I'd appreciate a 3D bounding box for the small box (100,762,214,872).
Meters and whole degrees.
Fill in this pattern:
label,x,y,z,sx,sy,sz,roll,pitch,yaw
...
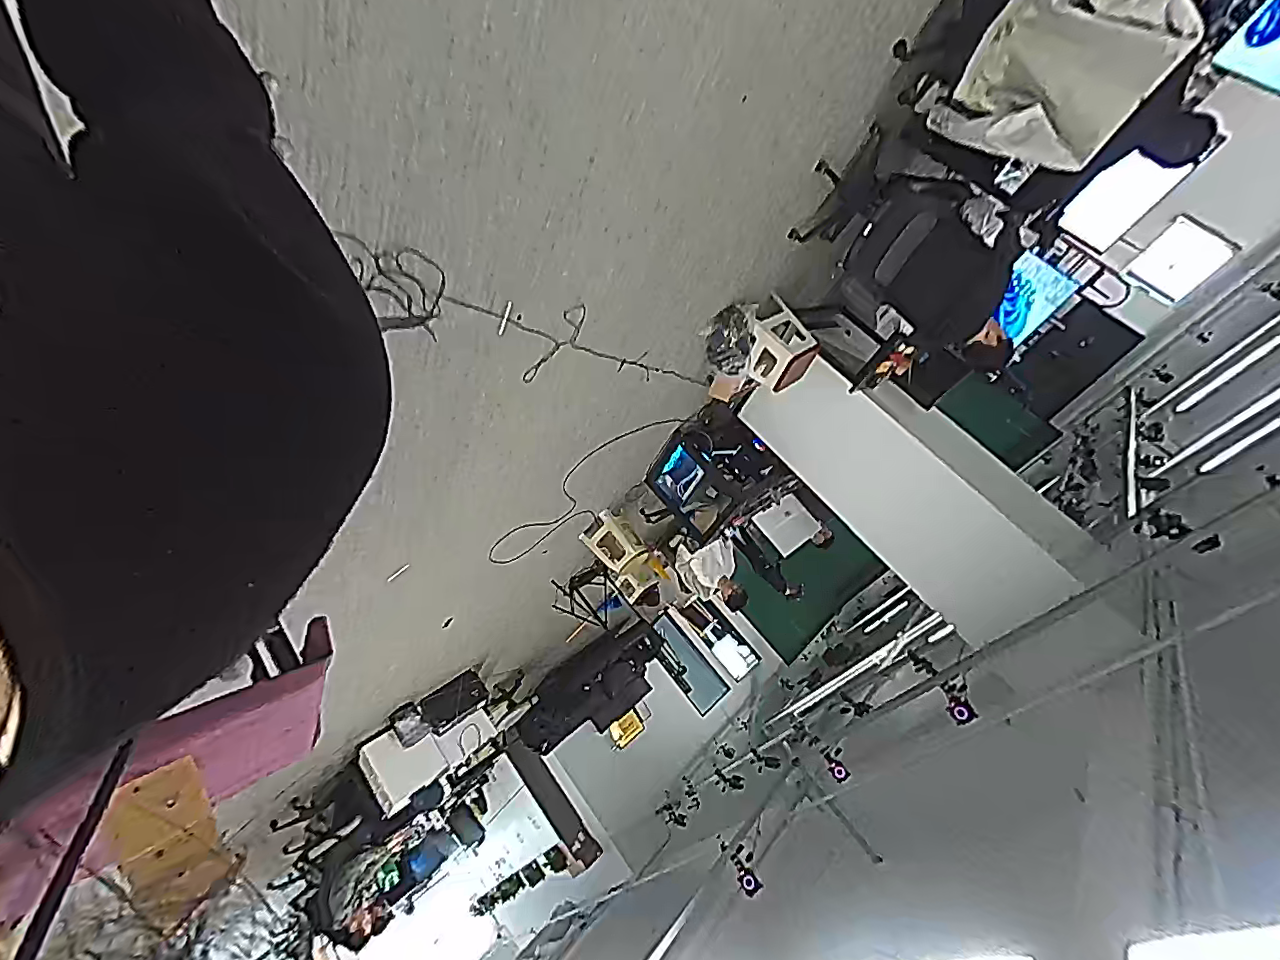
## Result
label,x,y,z,sx,sy,sz,roll,pitch,yaw
small box,-1.160,0.818,1.305,0.168,0.176,0.179,-21,154,-47

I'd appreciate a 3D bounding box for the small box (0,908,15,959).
label,x,y,z,sx,sy,sz,roll,pitch,yaw
small box,-1.406,0.940,1.078,0.168,0.176,0.179,-19,151,-49

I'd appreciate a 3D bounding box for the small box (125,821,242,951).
label,x,y,z,sx,sy,sz,roll,pitch,yaw
small box,-1.059,0.938,1.260,0.168,0.176,0.179,-22,154,-45
